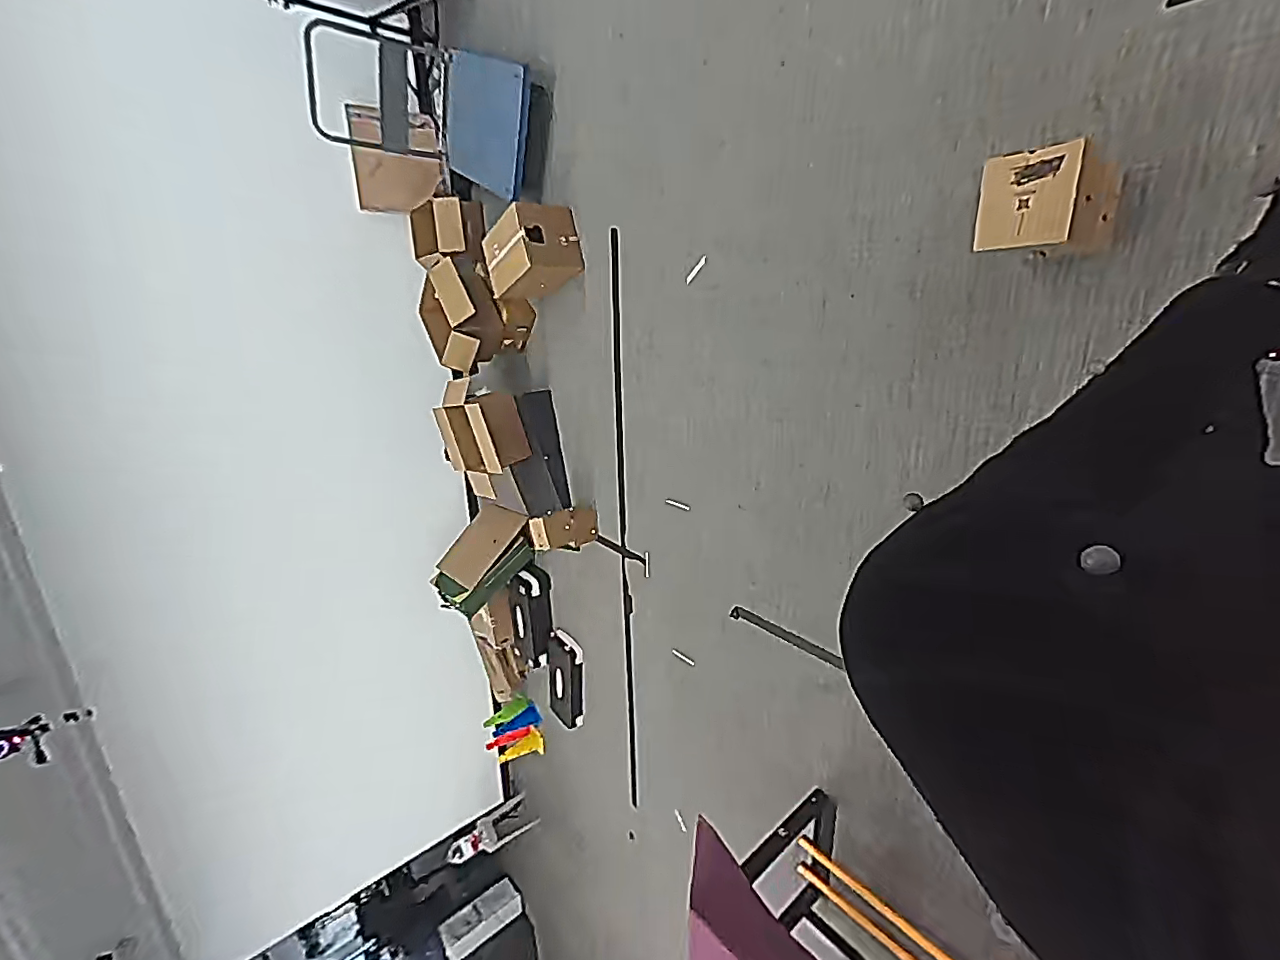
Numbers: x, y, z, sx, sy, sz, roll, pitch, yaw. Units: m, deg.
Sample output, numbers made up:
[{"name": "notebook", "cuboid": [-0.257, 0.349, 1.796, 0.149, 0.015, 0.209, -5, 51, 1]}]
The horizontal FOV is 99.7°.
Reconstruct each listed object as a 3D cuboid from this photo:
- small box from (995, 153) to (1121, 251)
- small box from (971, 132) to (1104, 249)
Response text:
[{"name": "small box", "cuboid": [0.926, -0.606, 1.198, 0.179, 0.176, 0.168, 18, 116, 48]}, {"name": "small box", "cuboid": [0.804, -0.573, 1.093, 0.168, 0.176, 0.179, 18, 117, 48]}]
